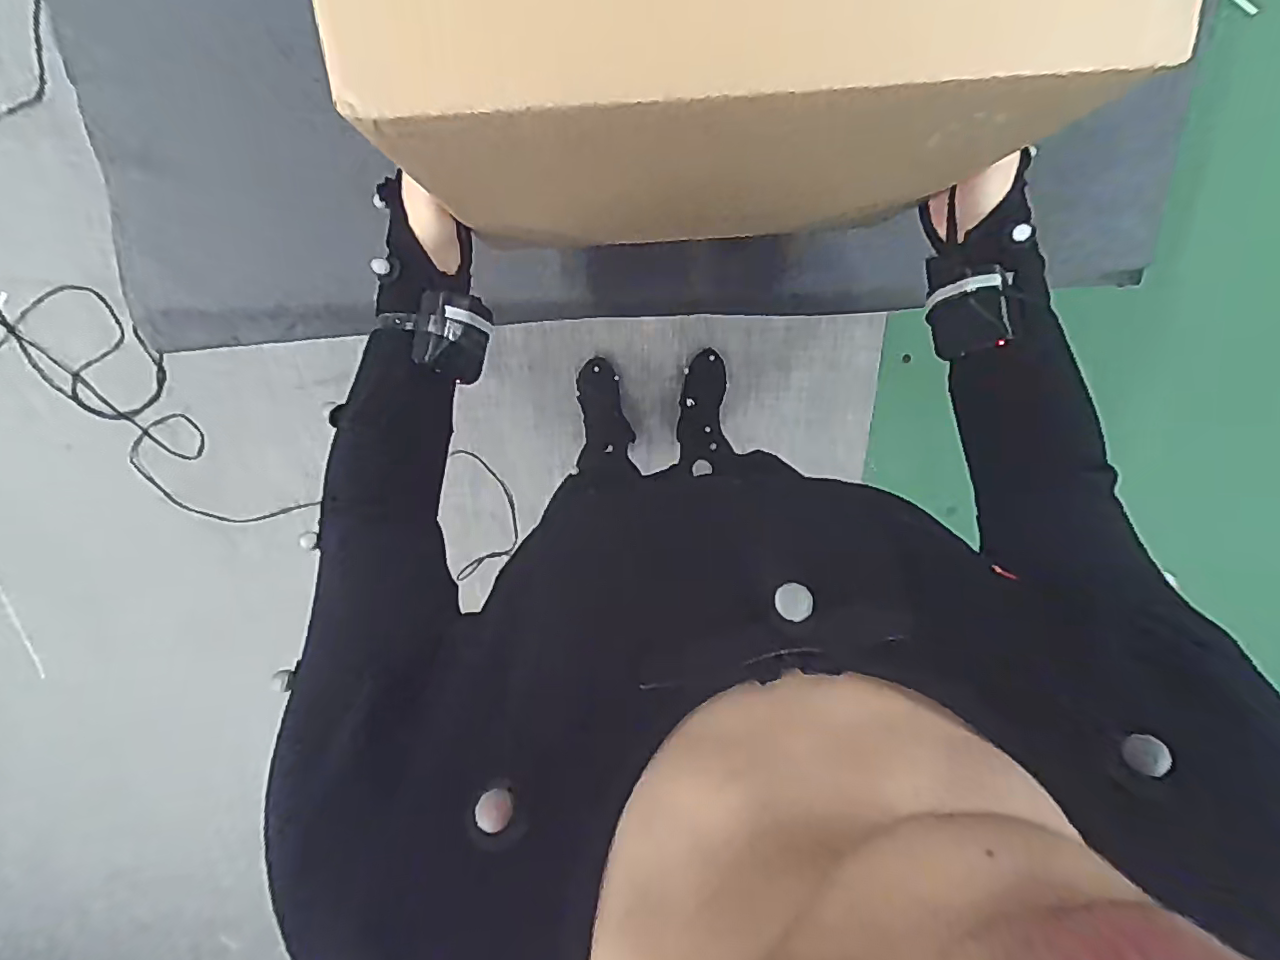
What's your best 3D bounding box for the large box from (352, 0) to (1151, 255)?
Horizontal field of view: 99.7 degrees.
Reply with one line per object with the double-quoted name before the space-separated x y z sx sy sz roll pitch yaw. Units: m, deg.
"large box" 0.042 -0.371 0.389 0.408 0.320 0.320 -5 102 -2
